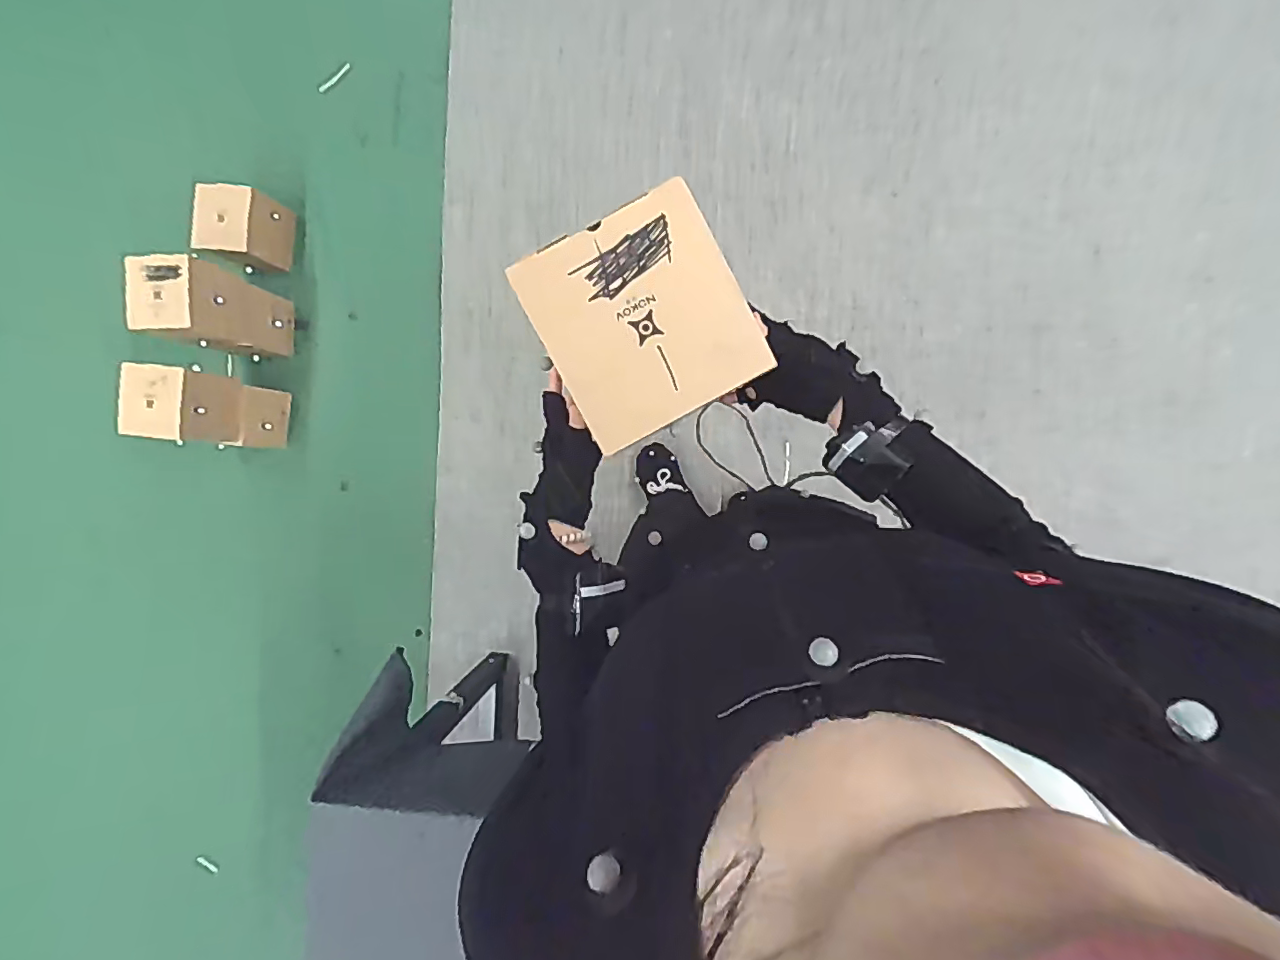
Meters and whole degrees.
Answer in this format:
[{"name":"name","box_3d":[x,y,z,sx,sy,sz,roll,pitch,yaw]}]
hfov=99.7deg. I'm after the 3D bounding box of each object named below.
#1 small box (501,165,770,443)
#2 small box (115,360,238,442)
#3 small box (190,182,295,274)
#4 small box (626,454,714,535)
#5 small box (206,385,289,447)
[{"name":"small box","box_3d":[-0.006,-0.145,0.515,0.168,0.176,0.179,-28,94,0]},{"name":"small box","box_3d":[-1.154,-0.192,1.357,0.168,0.176,0.179,7,92,5]},{"name":"small box","box_3d":[-1.103,-0.700,1.513,0.168,0.176,0.179,7,91,5]},{"name":"small box","box_3d":[0.075,0.033,1.433,0.179,0.176,0.168,18,103,22]},{"name":"small box","box_3d":[-1.130,-0.184,1.520,0.179,0.176,0.168,8,91,5]}]
